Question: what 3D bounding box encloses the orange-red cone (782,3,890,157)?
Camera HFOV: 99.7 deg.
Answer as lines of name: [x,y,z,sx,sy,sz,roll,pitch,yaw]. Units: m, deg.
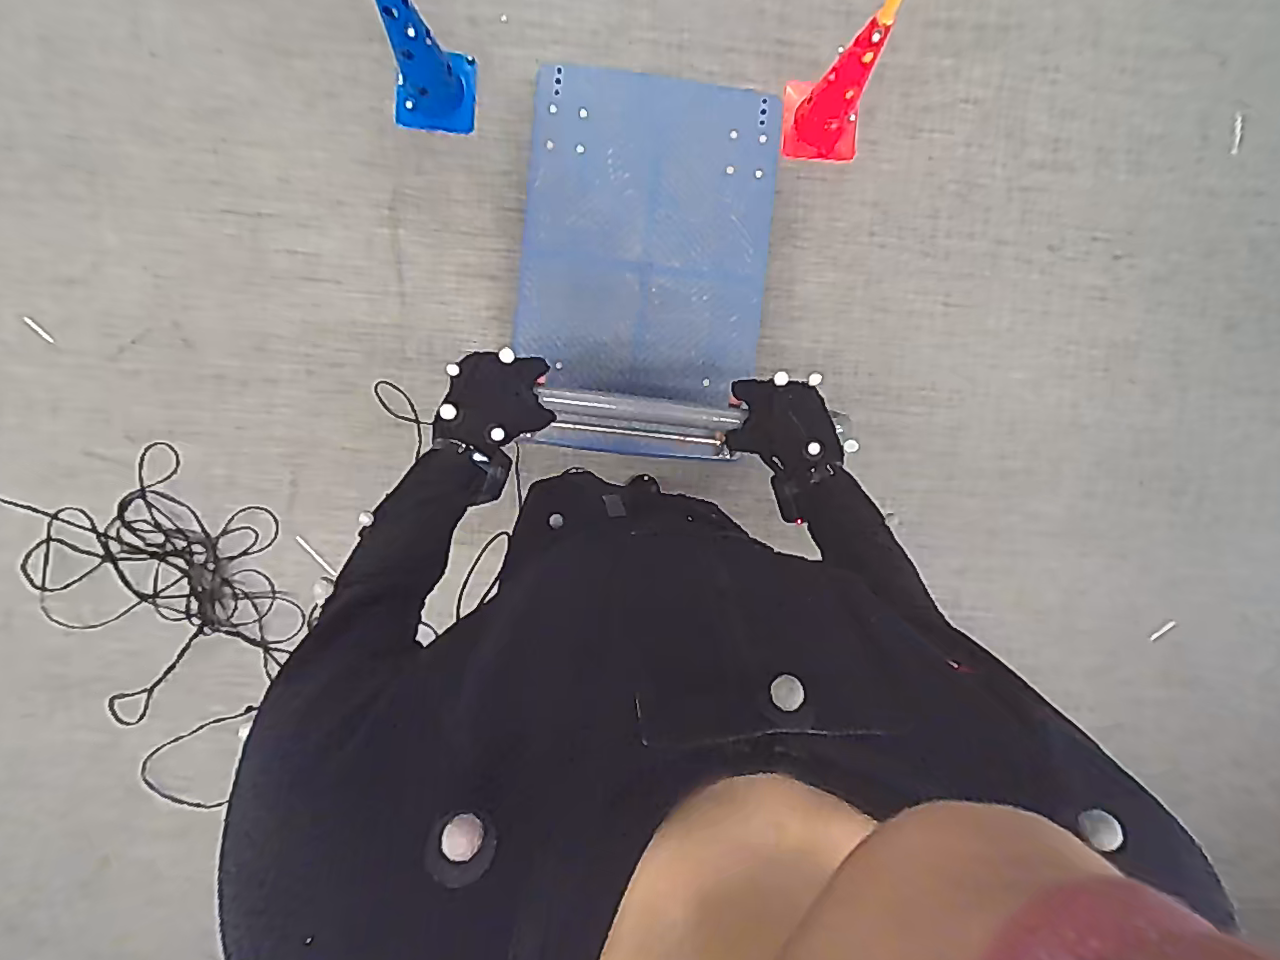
orange-red cone: [0.486,-0.961,1.277,0.199,0.360,0.198,4,92,-1]
